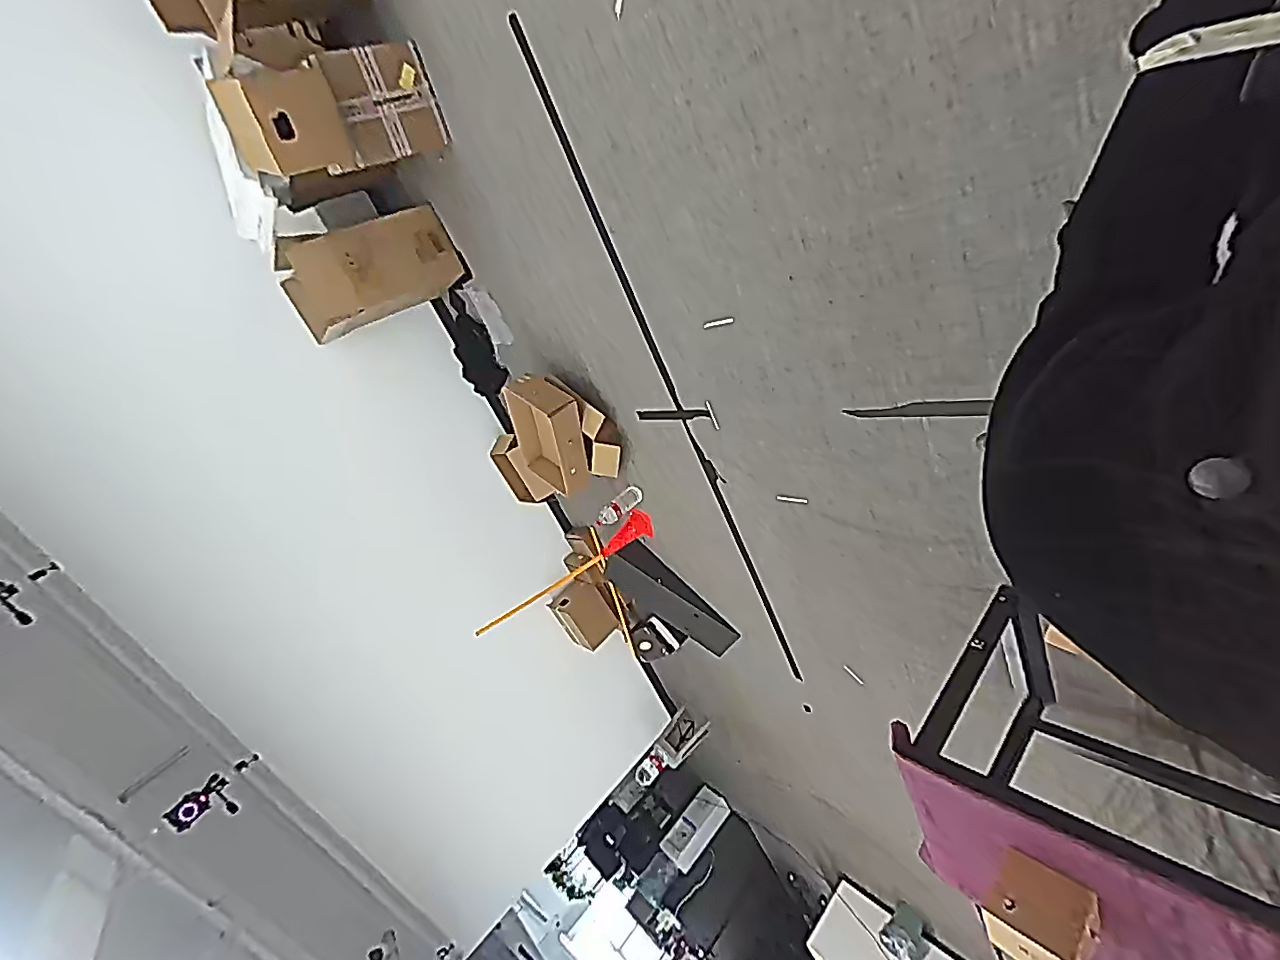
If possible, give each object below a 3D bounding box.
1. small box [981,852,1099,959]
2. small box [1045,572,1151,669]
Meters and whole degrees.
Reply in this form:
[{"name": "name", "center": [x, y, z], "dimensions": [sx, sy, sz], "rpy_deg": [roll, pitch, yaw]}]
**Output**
[{"name": "small box", "center": [0.921, 1.005, 1.243], "dimensions": [0.179, 0.176, 0.168], "rpy_deg": [8, 131, 51]}, {"name": "small box", "center": [1.292, 0.388, 1.529], "dimensions": [0.179, 0.176, 0.168], "rpy_deg": [23, 140, 39]}]
